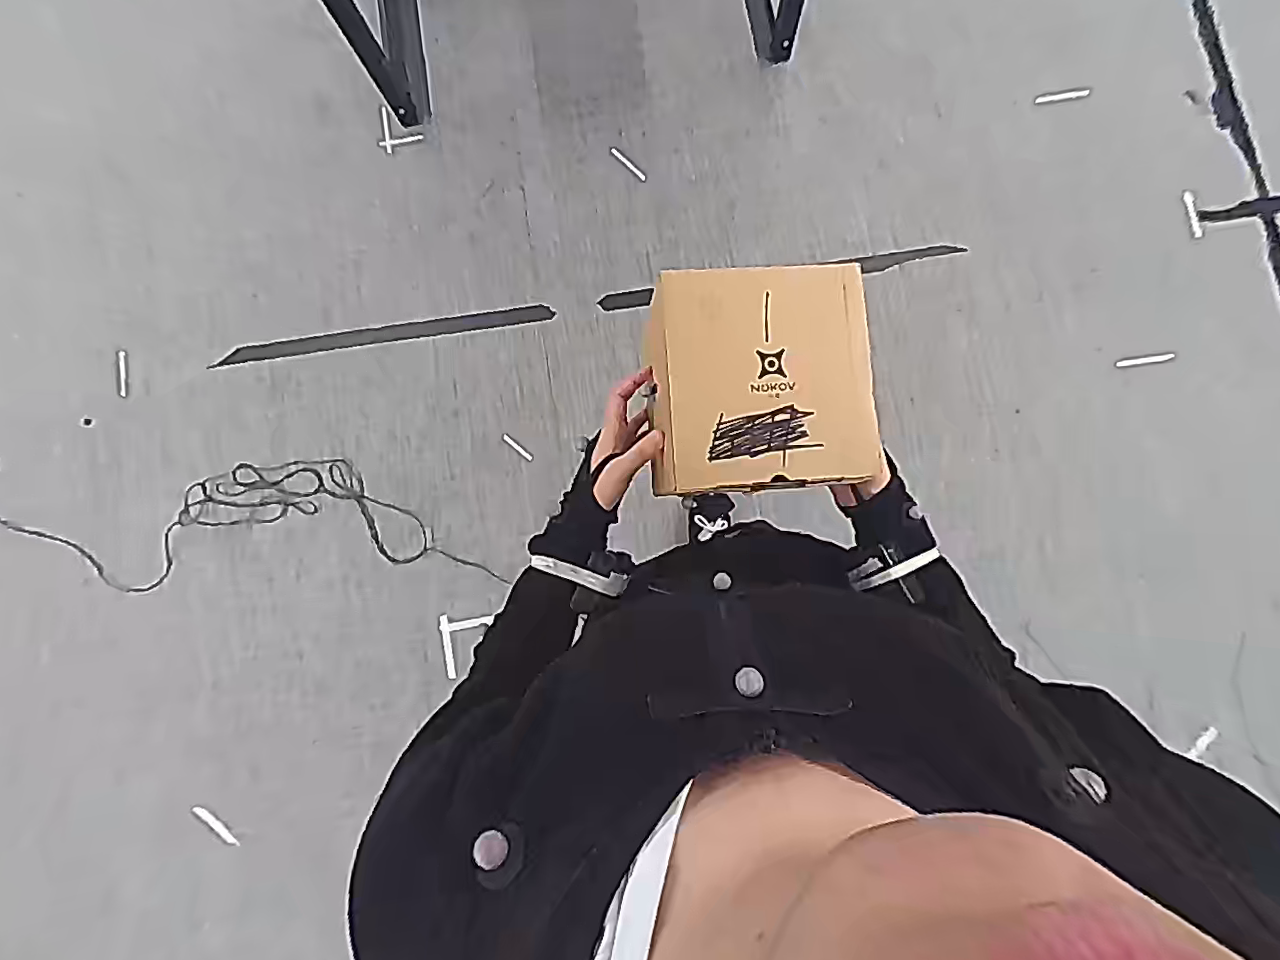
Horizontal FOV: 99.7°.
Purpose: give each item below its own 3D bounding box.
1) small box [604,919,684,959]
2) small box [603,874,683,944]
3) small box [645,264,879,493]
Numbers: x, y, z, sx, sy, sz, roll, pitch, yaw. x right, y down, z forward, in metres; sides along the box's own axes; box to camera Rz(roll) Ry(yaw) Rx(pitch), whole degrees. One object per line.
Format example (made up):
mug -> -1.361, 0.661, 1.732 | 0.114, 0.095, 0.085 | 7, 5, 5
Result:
small box -> 0.013, 1.094, 1.170 | 0.179, 0.176, 0.168 | -6, 83, 1
small box -> 0.012, 1.114, 1.333 | 0.179, 0.176, 0.168 | -9, 84, 1
small box -> 0.097, -0.078, 0.503 | 0.168, 0.176, 0.179 | -4, 86, -5
